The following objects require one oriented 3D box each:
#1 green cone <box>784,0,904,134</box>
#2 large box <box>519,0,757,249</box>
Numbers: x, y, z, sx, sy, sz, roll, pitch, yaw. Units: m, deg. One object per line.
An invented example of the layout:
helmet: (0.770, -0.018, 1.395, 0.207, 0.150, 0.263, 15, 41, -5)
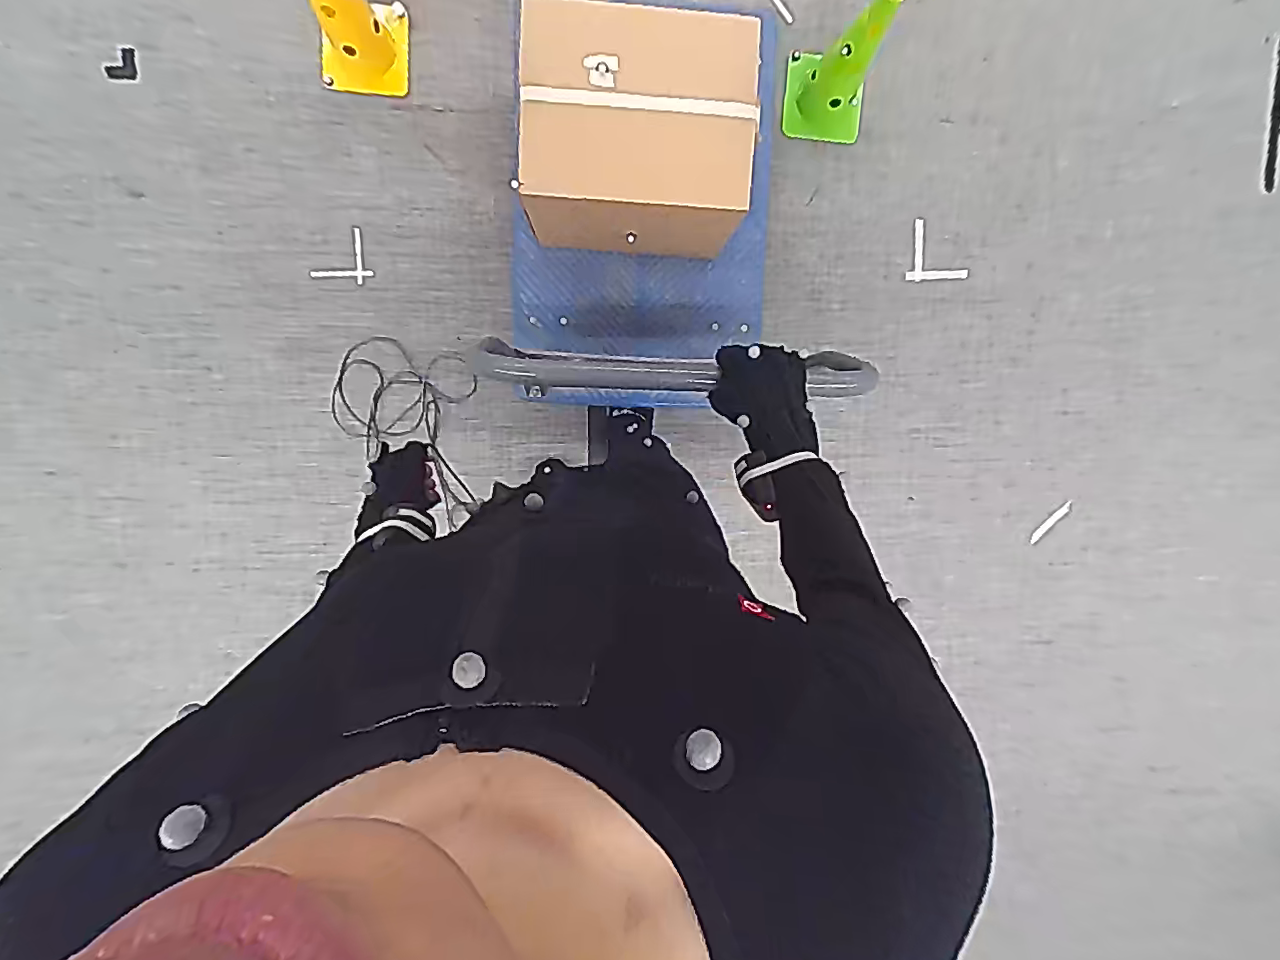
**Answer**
green cone: (0.483, -0.972, 1.204, 0.202, 0.368, 0.200, 3, 97, -6)
large box: (-0.010, -0.661, 1.067, 0.408, 0.320, 0.320, 2, 97, -3)
